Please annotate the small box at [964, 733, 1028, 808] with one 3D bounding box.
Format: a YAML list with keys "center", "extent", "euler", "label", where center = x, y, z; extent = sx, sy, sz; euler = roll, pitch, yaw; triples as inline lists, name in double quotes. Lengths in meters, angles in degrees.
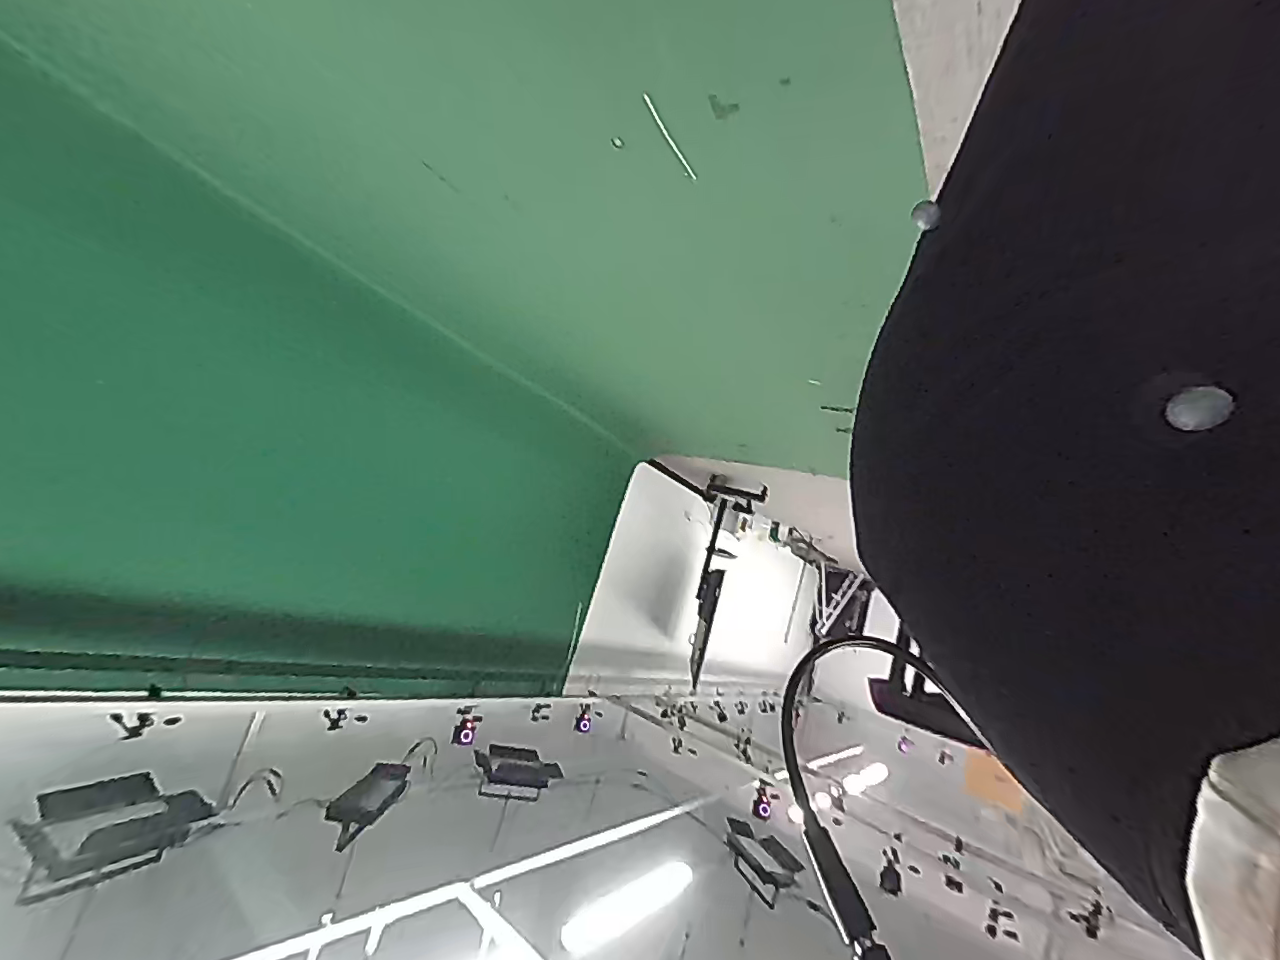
- center: [1.232, 0.996, 1.873]
  extent: [0.168, 0.176, 0.179]
  euler: [10, 170, 35]
  label: "small box"
